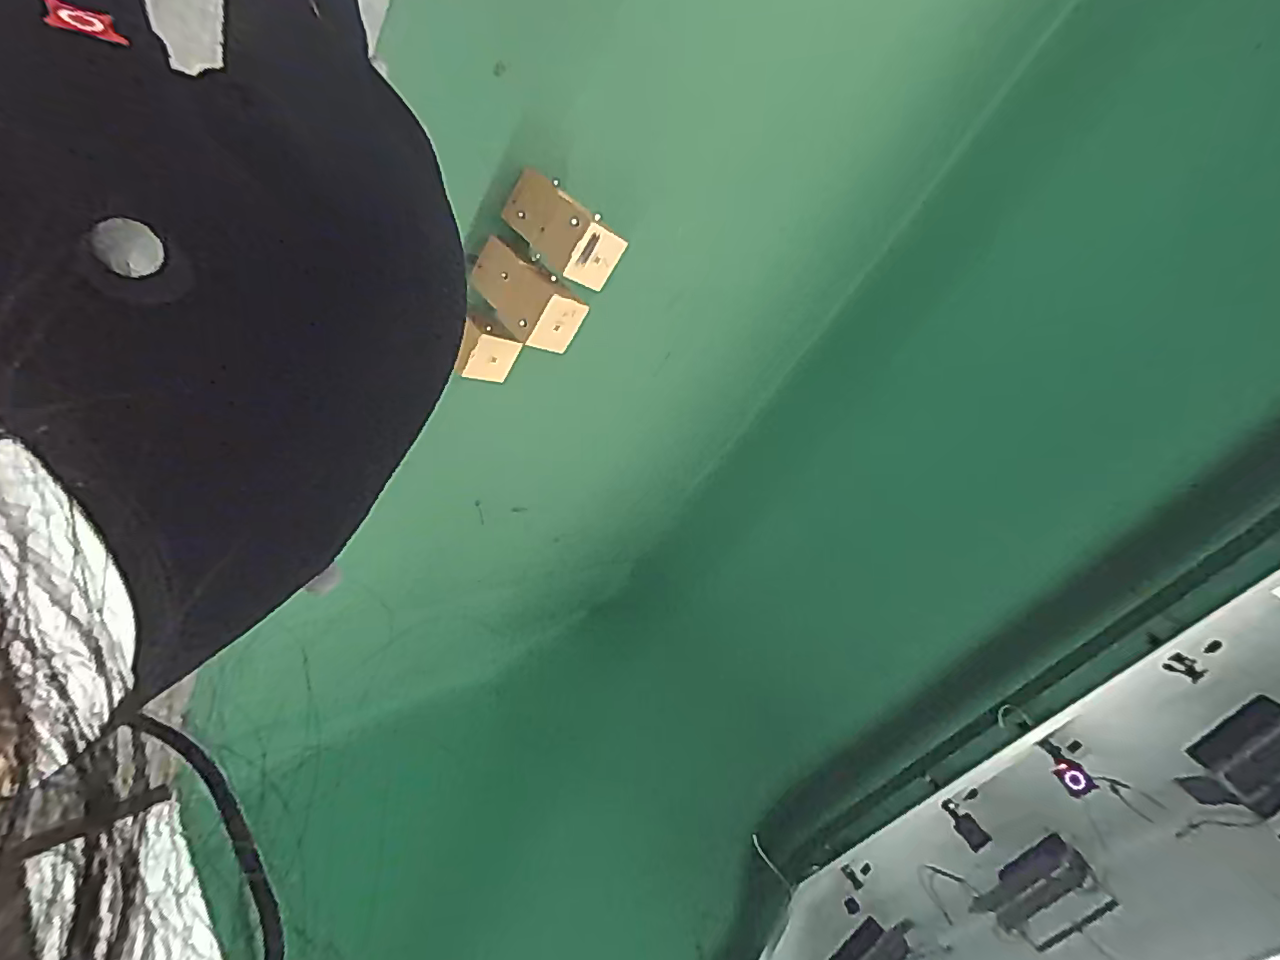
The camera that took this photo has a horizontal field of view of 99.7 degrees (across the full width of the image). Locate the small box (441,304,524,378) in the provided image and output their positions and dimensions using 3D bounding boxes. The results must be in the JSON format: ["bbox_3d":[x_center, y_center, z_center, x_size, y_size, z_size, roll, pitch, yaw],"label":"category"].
[{"bbox_3d":[-0.532,-0.465,1.815,0.179,0.176,0.168,-4,136,-54],"label":"small box"}]
